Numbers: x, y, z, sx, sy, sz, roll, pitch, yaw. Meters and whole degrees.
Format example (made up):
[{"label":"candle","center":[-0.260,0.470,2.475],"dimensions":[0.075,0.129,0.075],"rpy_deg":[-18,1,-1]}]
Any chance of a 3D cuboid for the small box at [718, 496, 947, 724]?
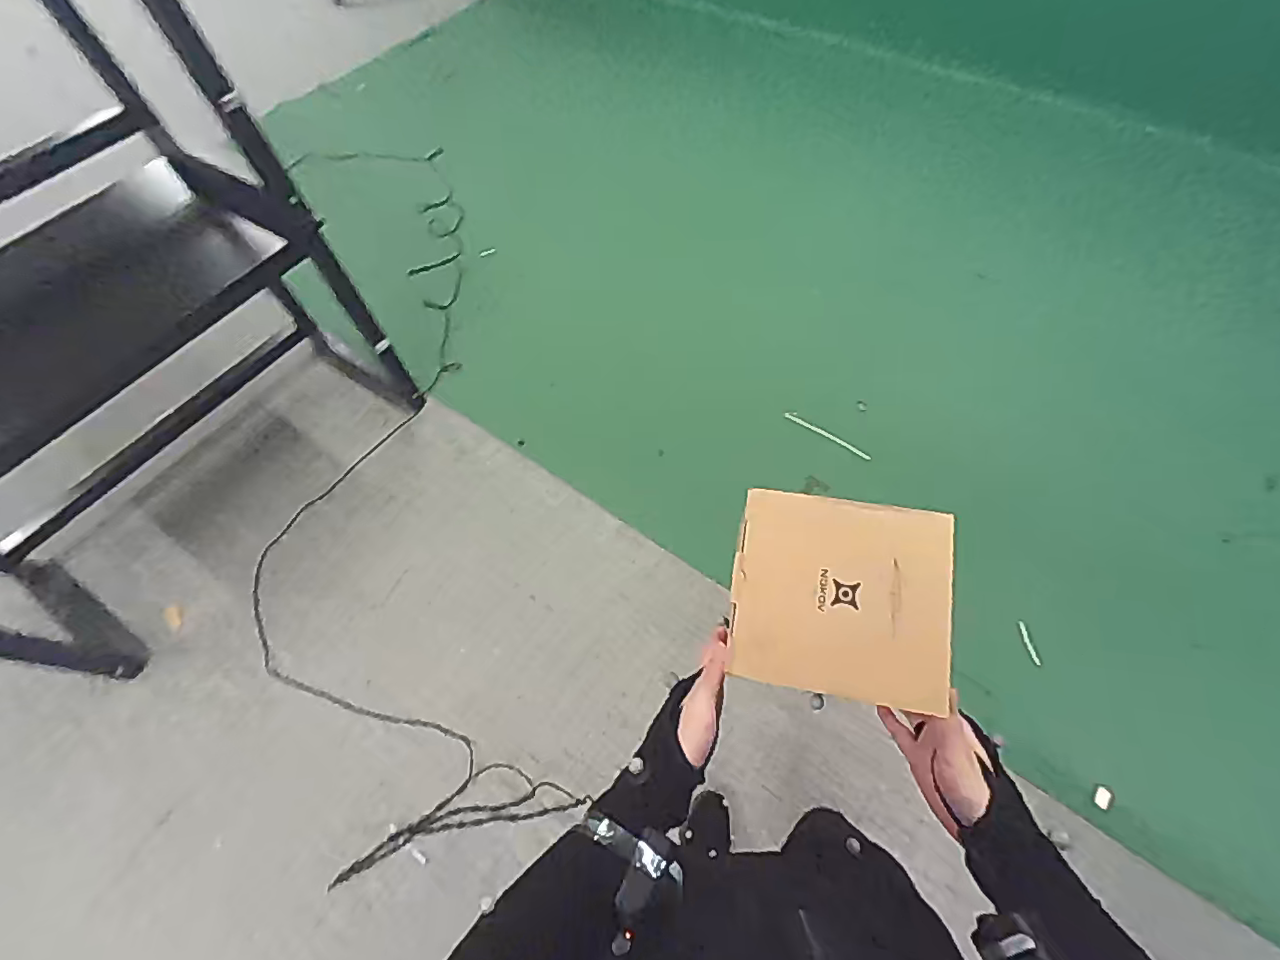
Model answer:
[{"label":"small box","center":[0.174,0.126,0.530],"dimensions":[0.179,0.176,0.168],"rpy_deg":[8,74,10]}]
